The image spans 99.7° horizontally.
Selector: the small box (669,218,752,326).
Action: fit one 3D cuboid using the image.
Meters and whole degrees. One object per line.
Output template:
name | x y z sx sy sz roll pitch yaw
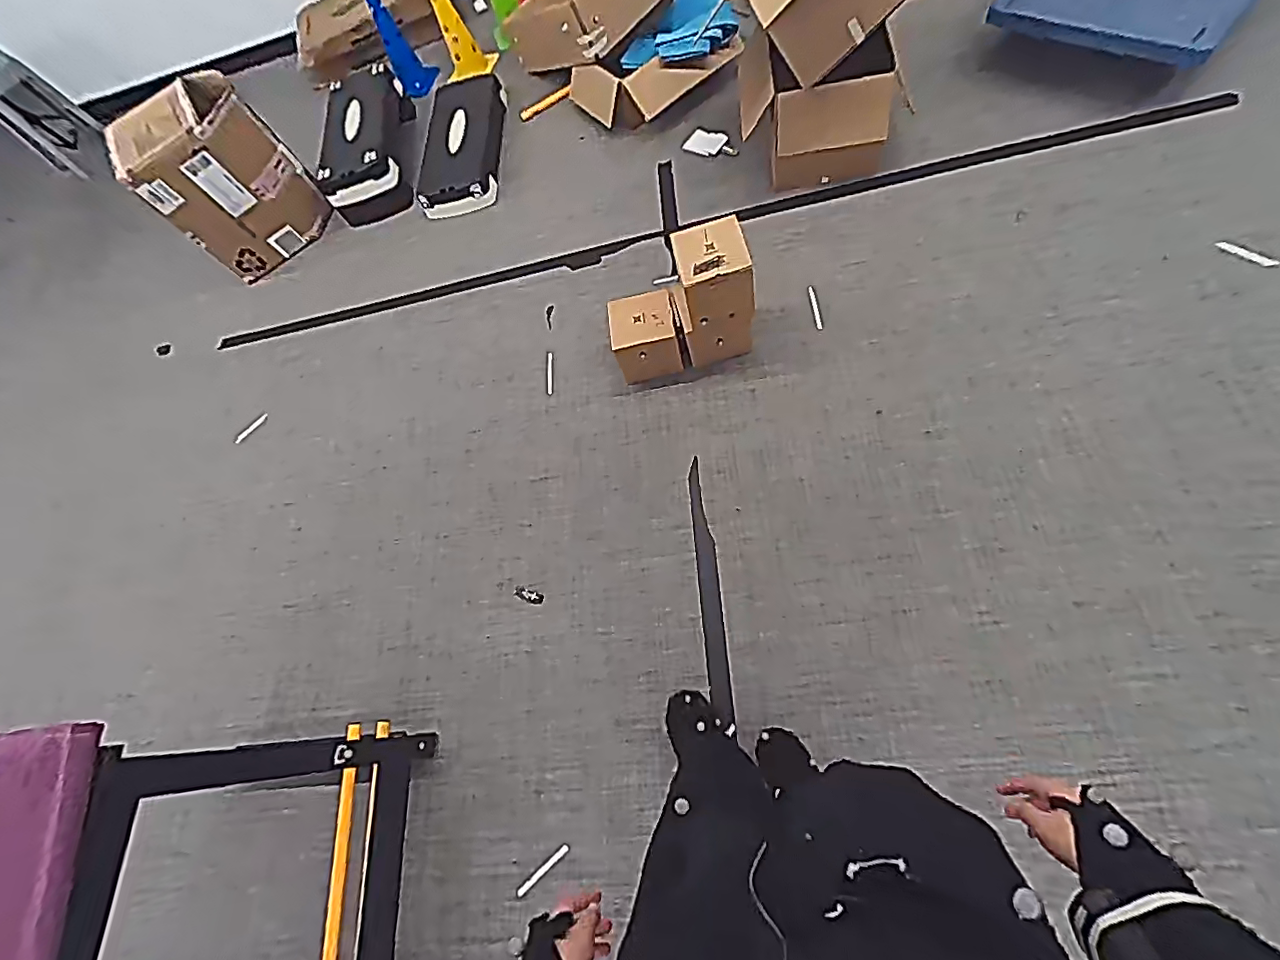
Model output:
small box | 0.180 -0.508 1.352 0.168 0.176 0.179 -14 64 7
